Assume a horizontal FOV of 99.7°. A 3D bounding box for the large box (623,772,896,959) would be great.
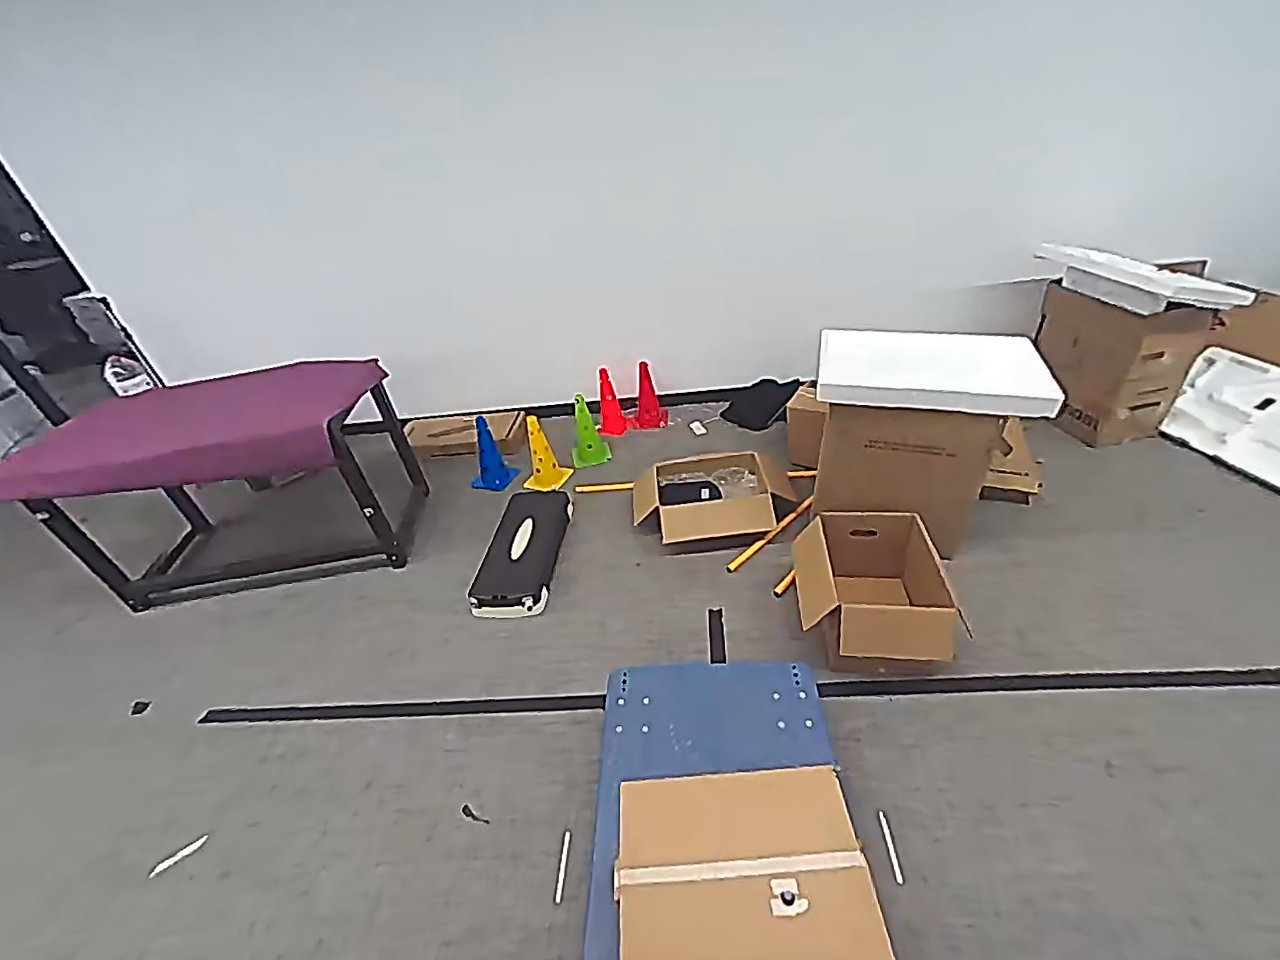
[{"bbox_3d":[0.184,0.777,0.976,0.408,0.320,0.320,-6,35,1],"label":"large box"}]
